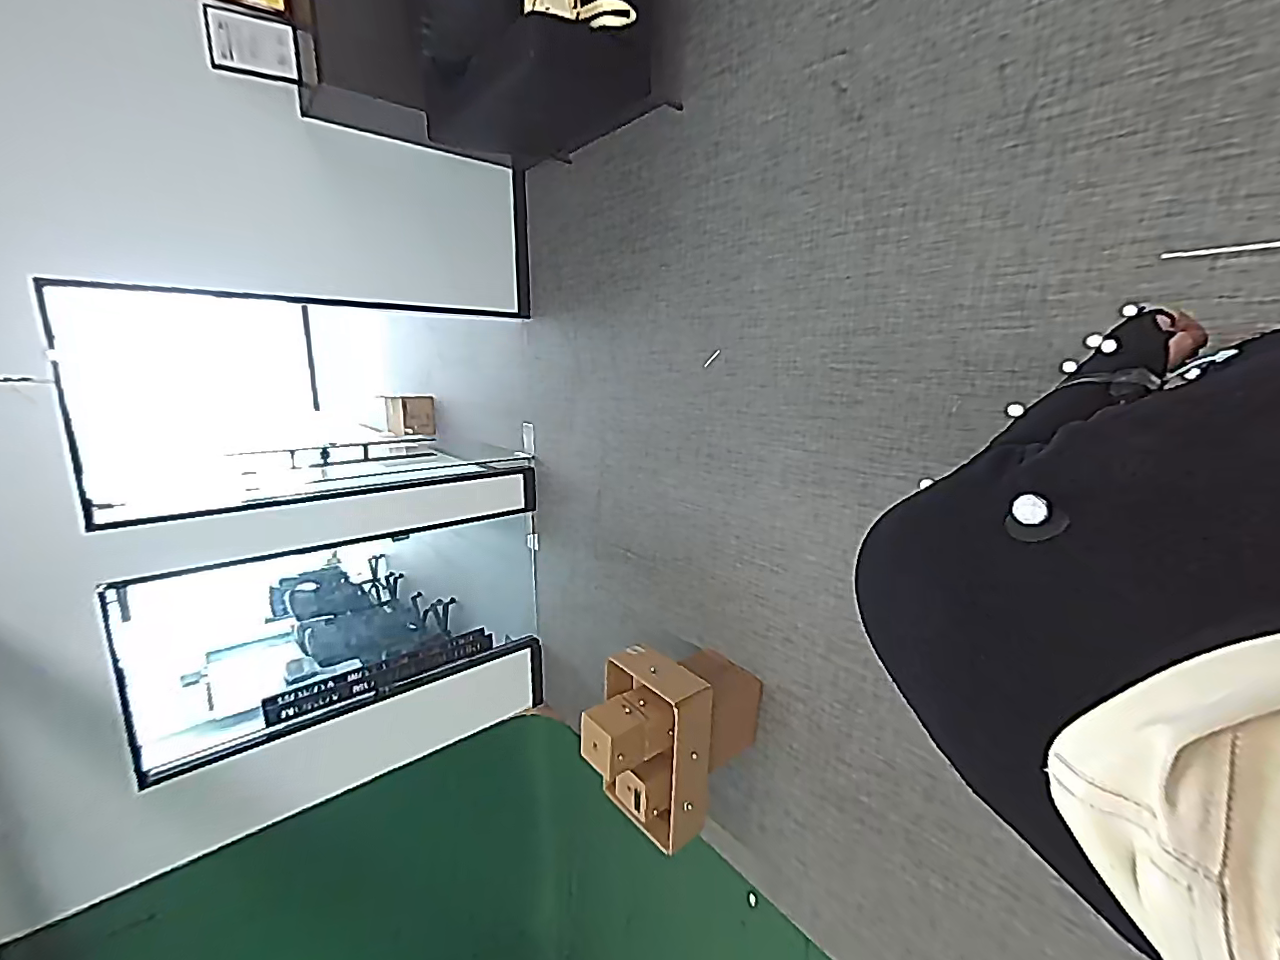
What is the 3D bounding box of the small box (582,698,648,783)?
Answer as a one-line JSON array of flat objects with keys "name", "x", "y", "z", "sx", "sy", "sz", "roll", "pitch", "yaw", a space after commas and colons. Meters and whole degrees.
[{"name": "small box", "x": -0.086, "y": 0.899, "z": 1.883, "sx": 0.168, "sy": 0.176, "sz": 0.179, "roll": 17, "pitch": 109, "yaw": 46}]
